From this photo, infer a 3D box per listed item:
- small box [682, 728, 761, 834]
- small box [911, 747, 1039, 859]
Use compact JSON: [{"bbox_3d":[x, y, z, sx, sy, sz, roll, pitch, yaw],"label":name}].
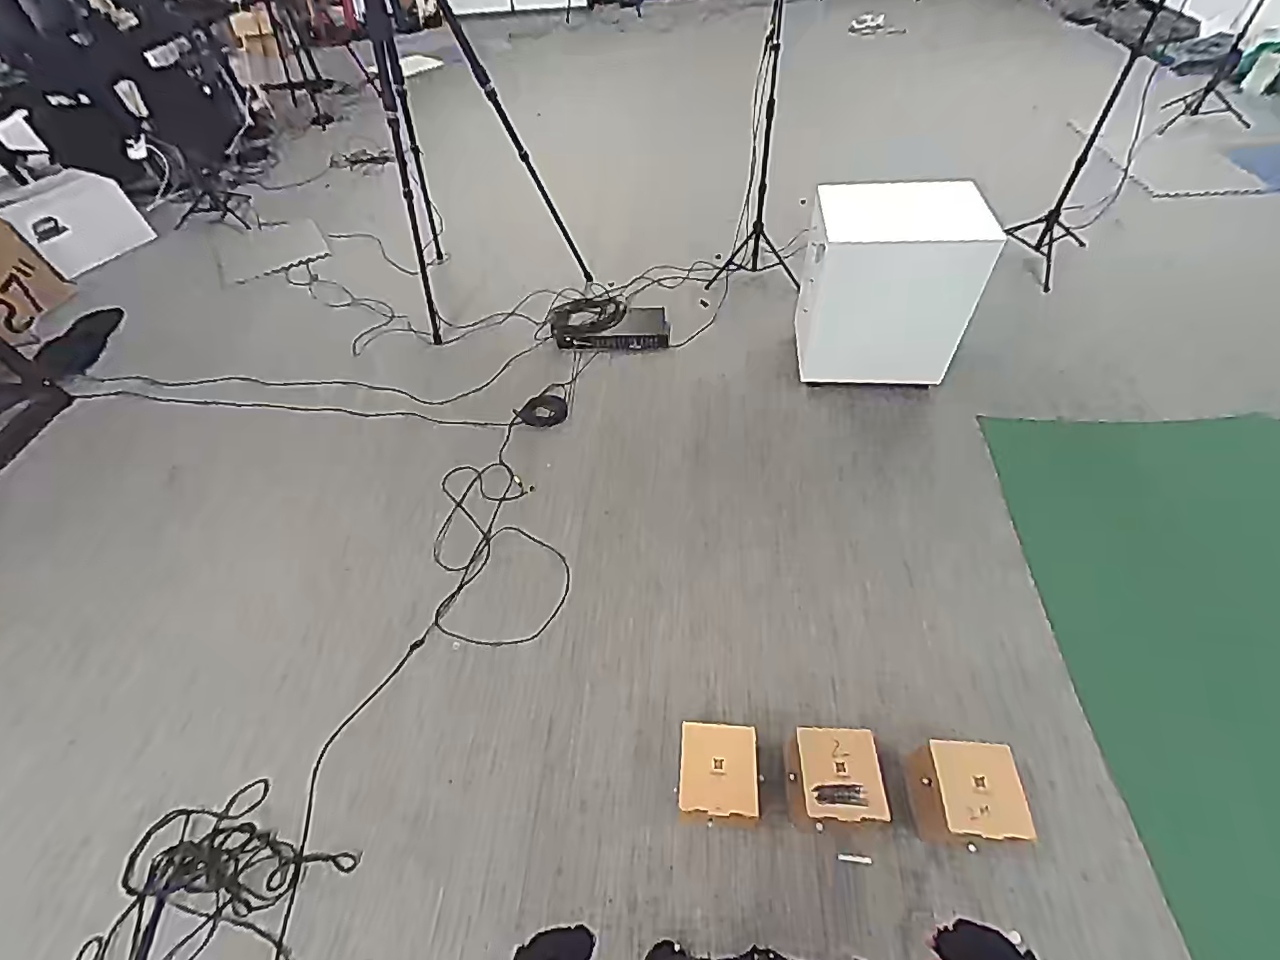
[{"bbox_3d":[0.183,0.688,1.235,0.168,0.176,0.179,1,51,7],"label":"small box"},{"bbox_3d":[0.709,0.701,1.173,0.168,0.176,0.179,1,51,7],"label":"small box"}]
